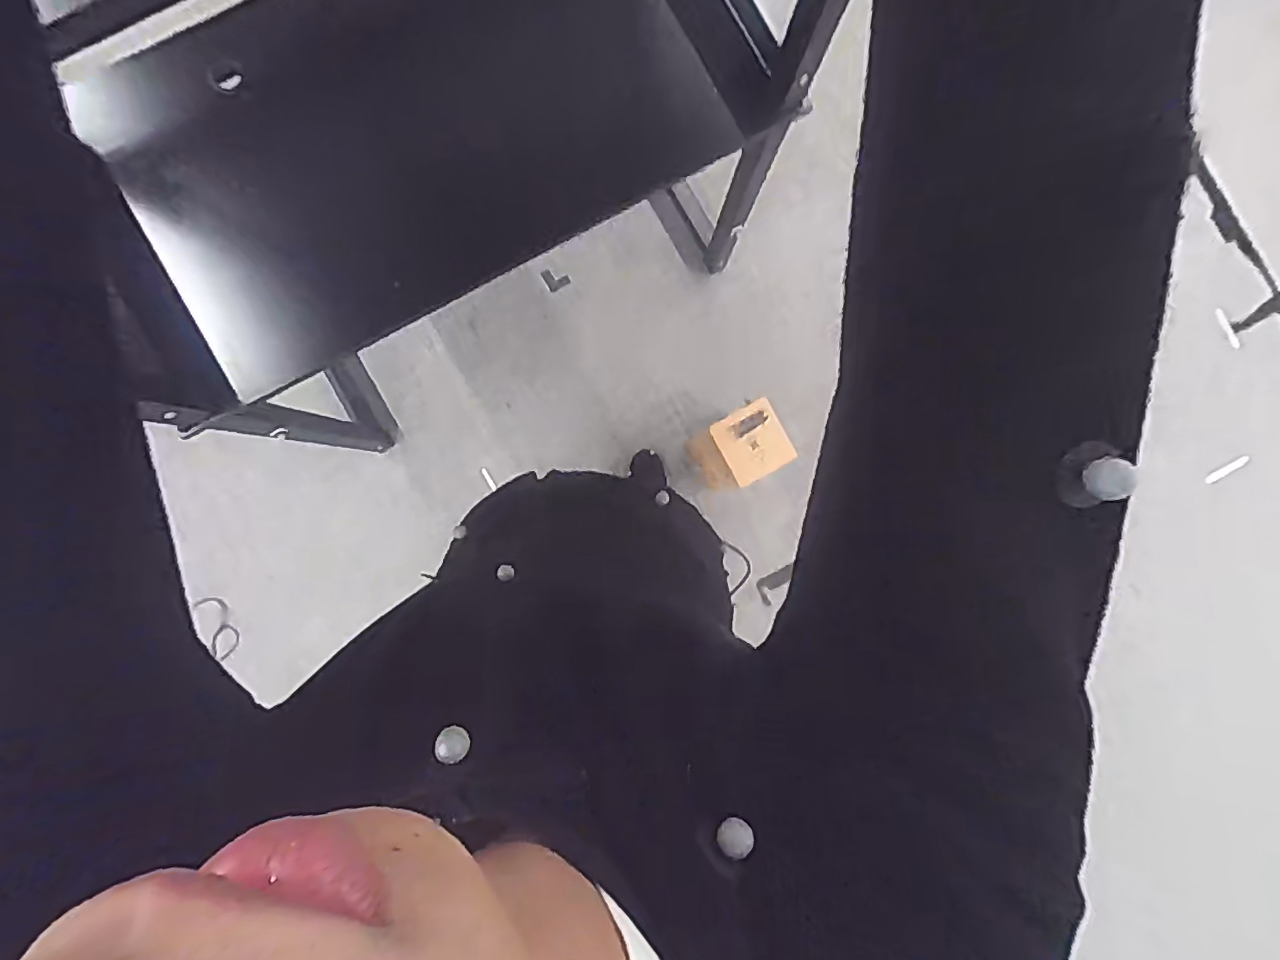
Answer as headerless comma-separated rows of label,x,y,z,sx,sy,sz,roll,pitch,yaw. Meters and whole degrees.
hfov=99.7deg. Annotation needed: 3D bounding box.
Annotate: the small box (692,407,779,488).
small box,0.268,-0.091,1.565,0.179,0.176,0.168,-31,90,-1
